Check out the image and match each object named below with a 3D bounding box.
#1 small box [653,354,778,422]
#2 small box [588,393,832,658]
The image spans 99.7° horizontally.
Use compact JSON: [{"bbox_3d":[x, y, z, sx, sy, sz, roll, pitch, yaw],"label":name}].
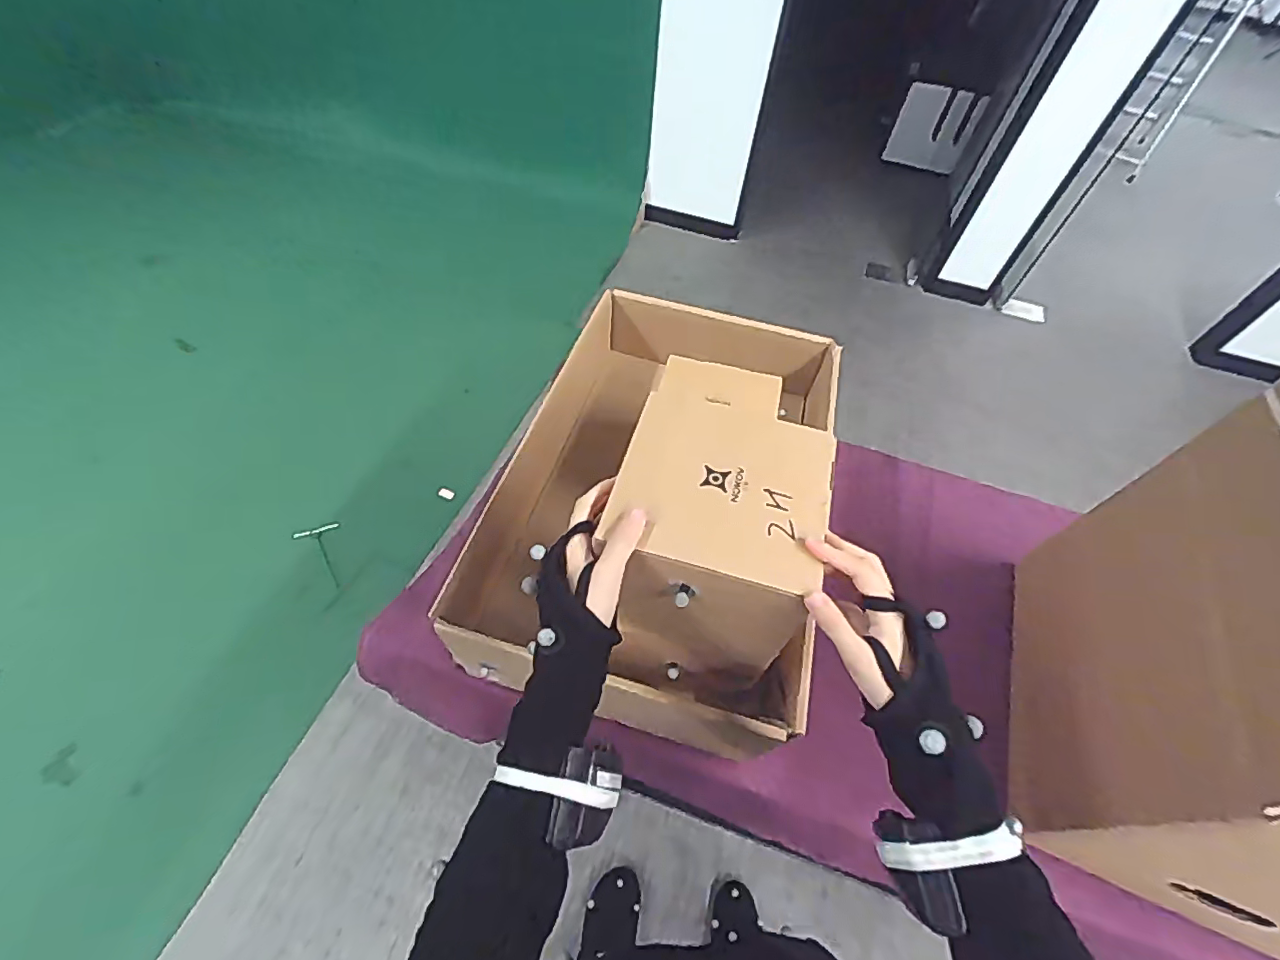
[{"bbox_3d":[0.093,-0.050,0.788,0.168,0.176,0.179,13,55,6],"label":"small box"},{"bbox_3d":[0.062,0.049,0.511,0.179,0.176,0.168,15,56,7],"label":"small box"}]
